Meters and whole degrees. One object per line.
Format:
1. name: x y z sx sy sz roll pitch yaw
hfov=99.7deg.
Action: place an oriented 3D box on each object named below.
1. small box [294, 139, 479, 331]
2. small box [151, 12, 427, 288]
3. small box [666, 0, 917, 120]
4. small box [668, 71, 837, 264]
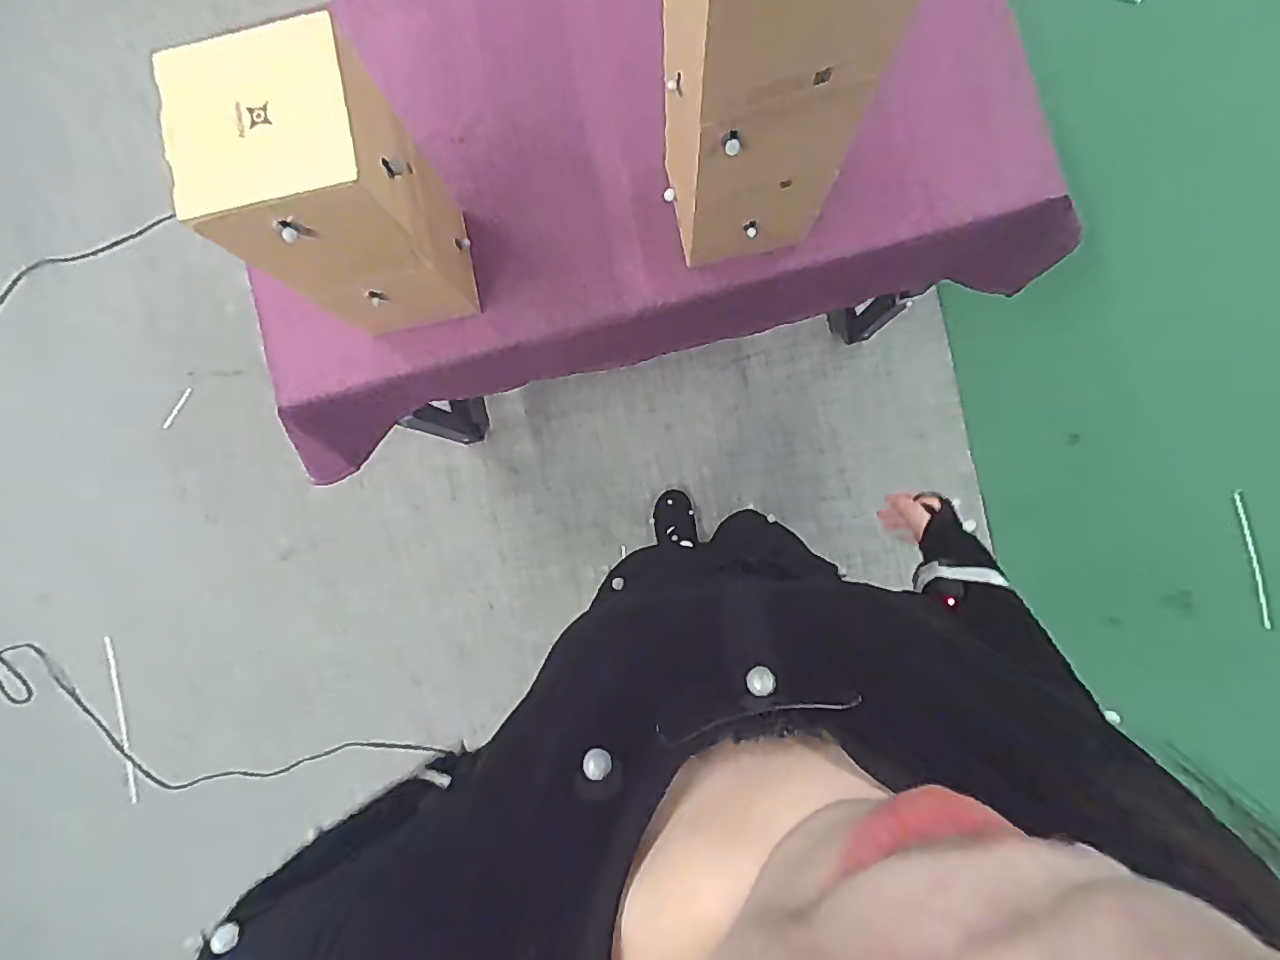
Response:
1. small box: -0.342 -0.317 0.733 0.179 0.176 0.168 -11 88 2
2. small box: -0.345 -0.325 0.570 0.179 0.176 0.168 -12 87 3
3. small box: 0.103 -0.410 0.385 0.168 0.176 0.179 -14 86 3
4. small box: 0.135 -0.412 0.713 0.179 0.176 0.168 -12 87 3
